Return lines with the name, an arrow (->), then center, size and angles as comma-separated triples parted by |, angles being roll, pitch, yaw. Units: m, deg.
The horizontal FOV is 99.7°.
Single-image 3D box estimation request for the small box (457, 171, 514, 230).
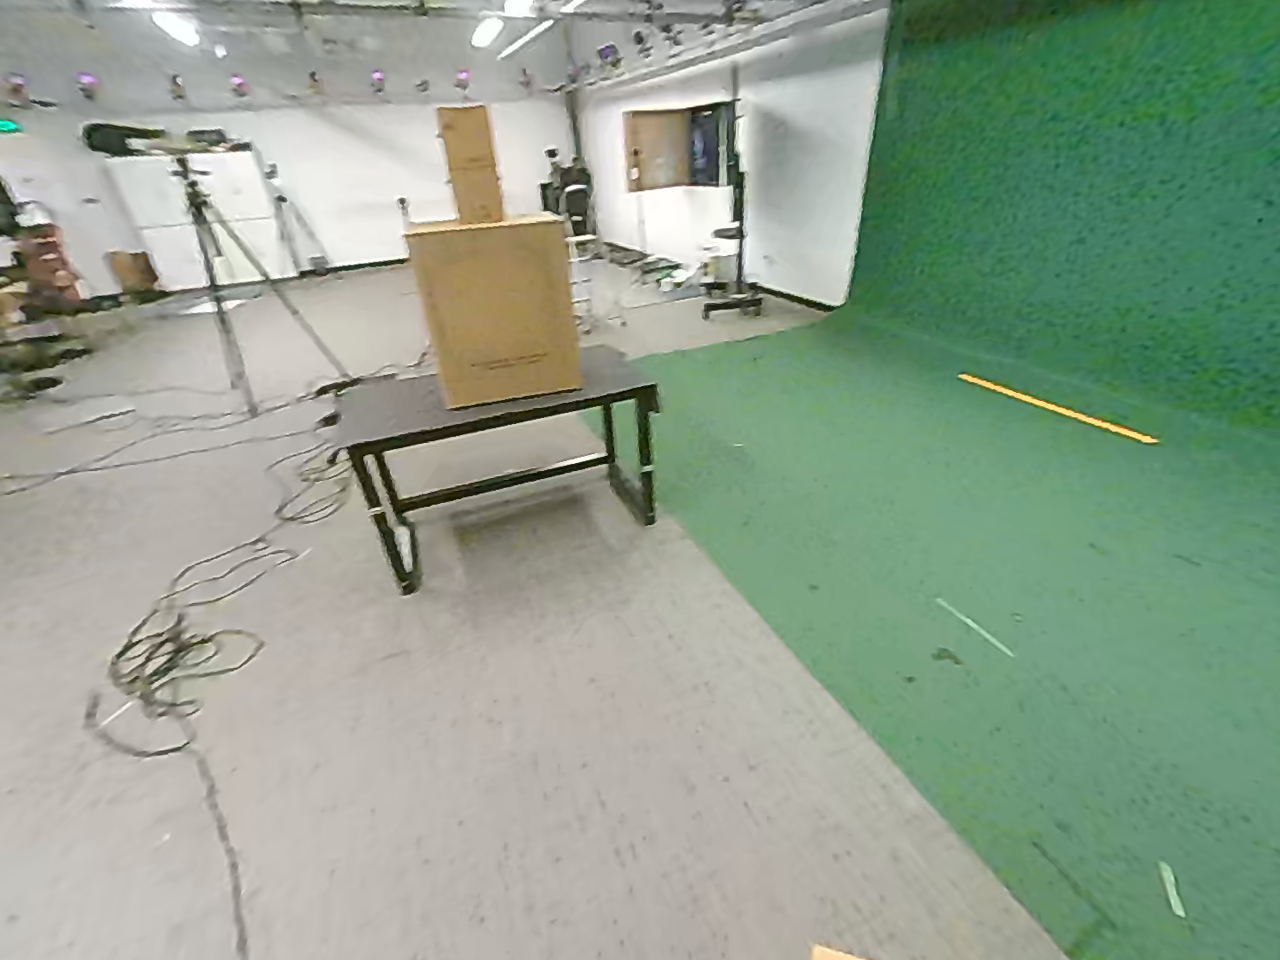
small box -> -0.543, -0.982, 1.898 | 0.168, 0.176, 0.179 | -11, 34, -13
